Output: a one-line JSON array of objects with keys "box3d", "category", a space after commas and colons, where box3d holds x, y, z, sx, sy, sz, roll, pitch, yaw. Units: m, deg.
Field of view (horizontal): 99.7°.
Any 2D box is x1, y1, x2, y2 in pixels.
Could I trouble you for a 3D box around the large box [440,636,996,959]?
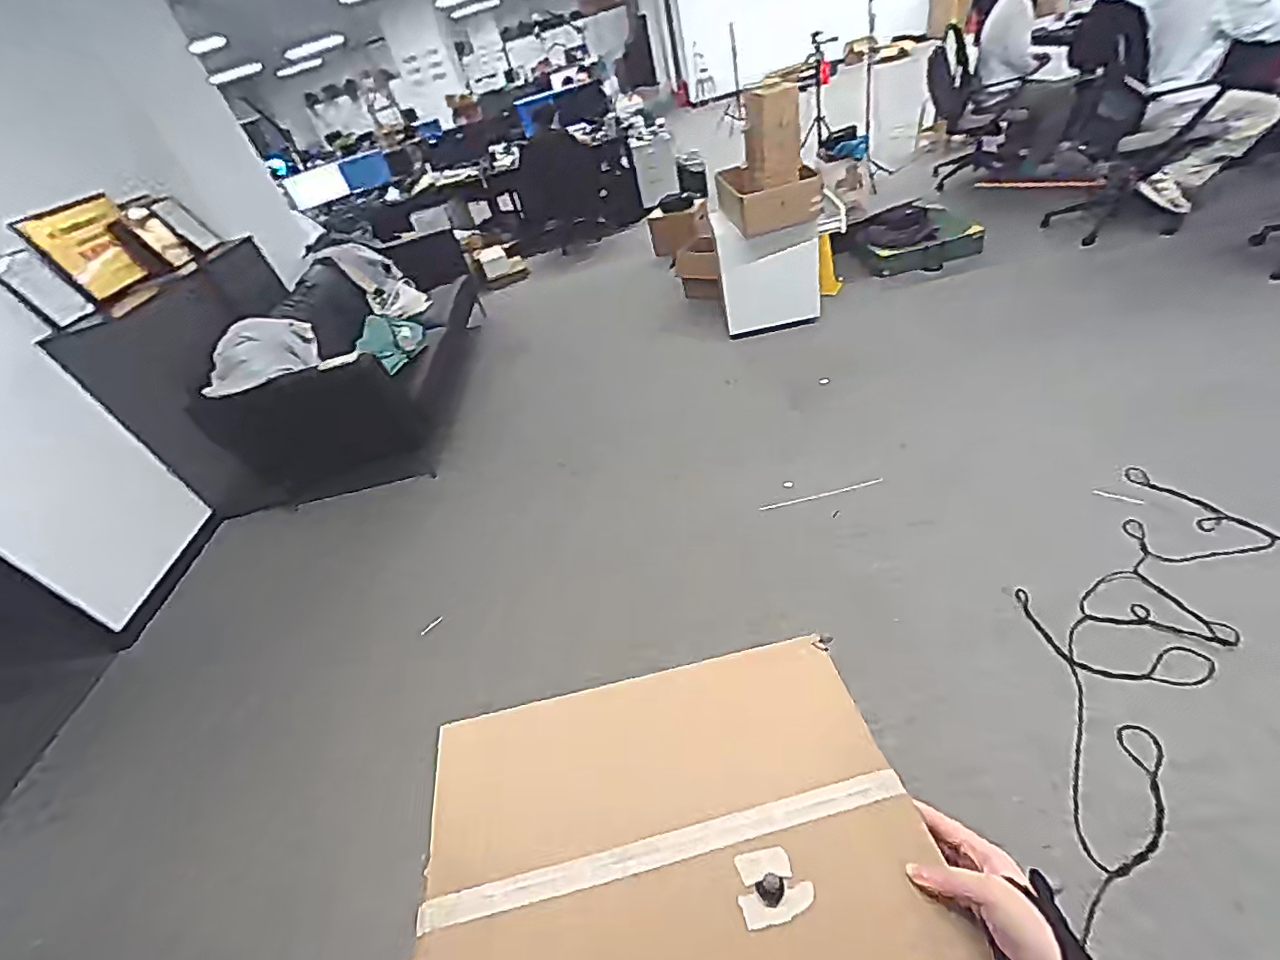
[{"box3d": [0.043, 0.418, 0.552, 0.408, 0.320, 0.320, -11, 40, -7], "category": "large box"}]
